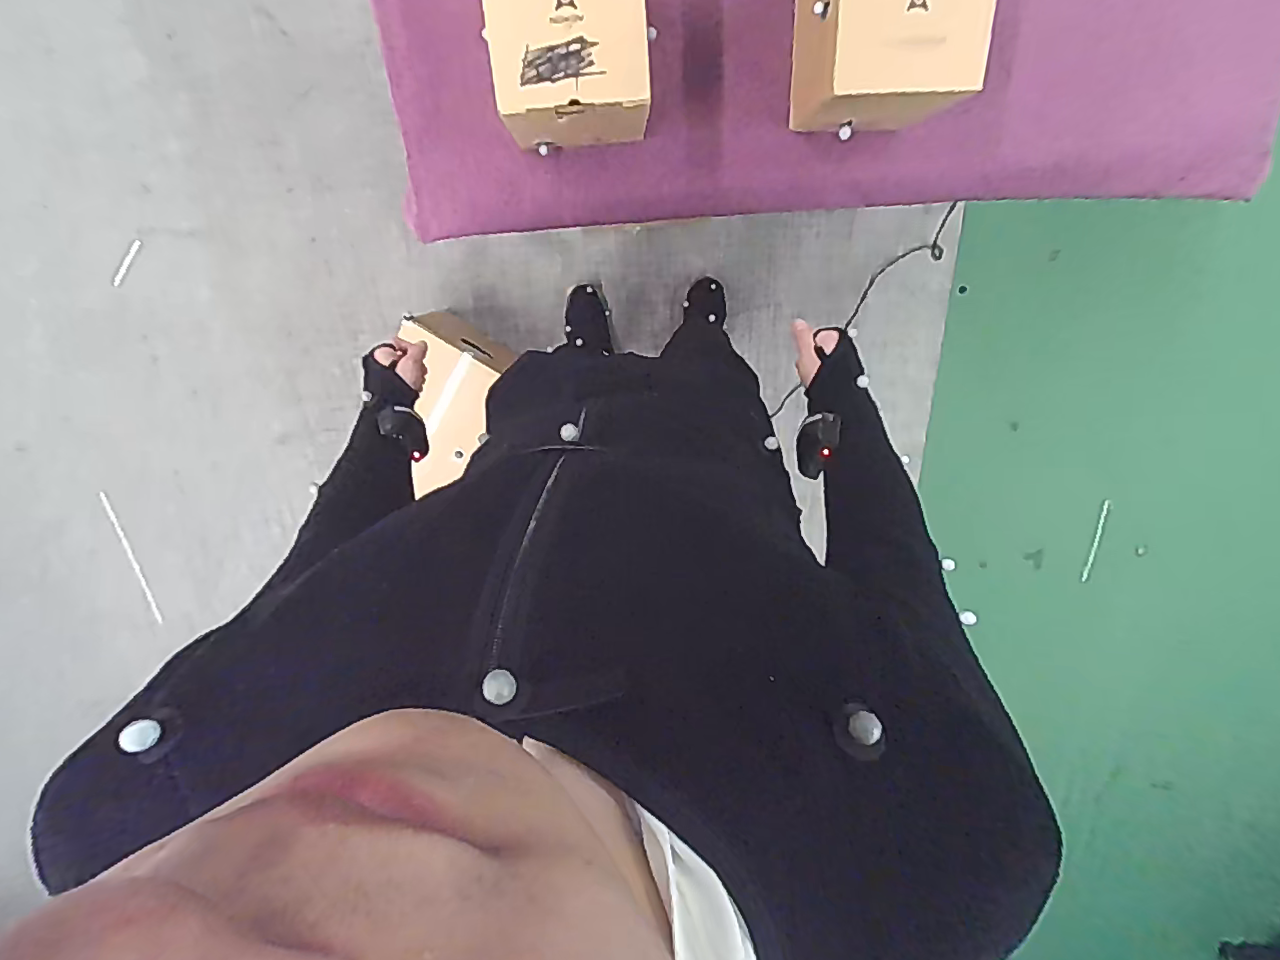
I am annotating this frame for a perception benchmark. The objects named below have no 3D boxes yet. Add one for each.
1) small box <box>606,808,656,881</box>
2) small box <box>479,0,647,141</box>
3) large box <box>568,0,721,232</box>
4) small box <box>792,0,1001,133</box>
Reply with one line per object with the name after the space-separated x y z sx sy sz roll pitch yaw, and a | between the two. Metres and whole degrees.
-0.035 1.409 2.096 0.179 0.176 0.168 -7 111 -1 | small box
-0.080 -0.499 0.610 0.168 0.176 0.179 -4 110 -1 | small box
0.000 -0.795 1.212 0.320 0.320 0.408 -4 110 -2 | large box
0.283 -0.521 0.621 0.168 0.176 0.179 -2 111 -1 | small box
